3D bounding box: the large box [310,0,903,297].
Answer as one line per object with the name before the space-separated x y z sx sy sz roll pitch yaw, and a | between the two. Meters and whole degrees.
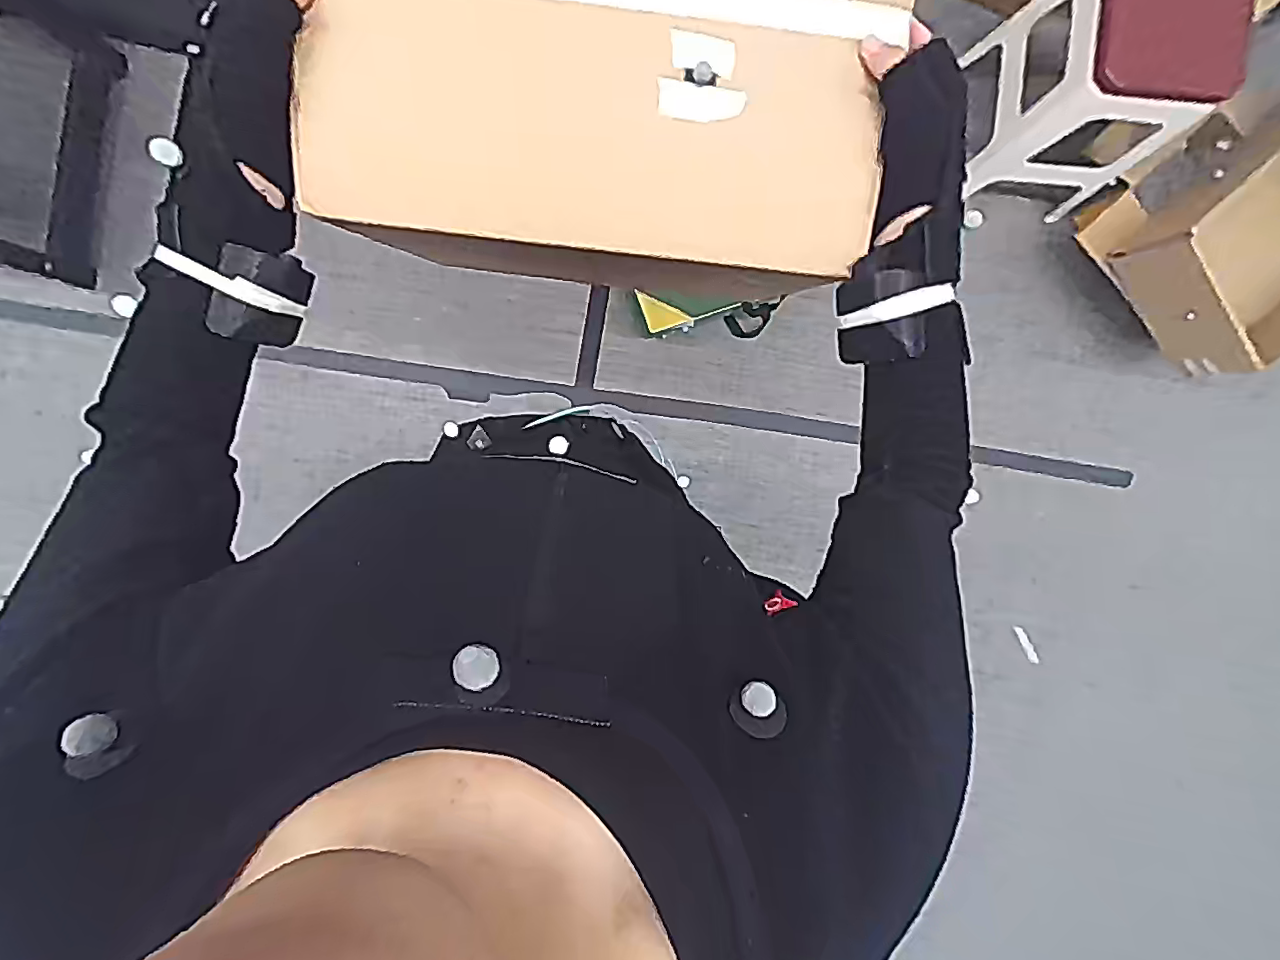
large box | -0.028 -0.360 0.509 0.408 0.320 0.320 5 106 -5
